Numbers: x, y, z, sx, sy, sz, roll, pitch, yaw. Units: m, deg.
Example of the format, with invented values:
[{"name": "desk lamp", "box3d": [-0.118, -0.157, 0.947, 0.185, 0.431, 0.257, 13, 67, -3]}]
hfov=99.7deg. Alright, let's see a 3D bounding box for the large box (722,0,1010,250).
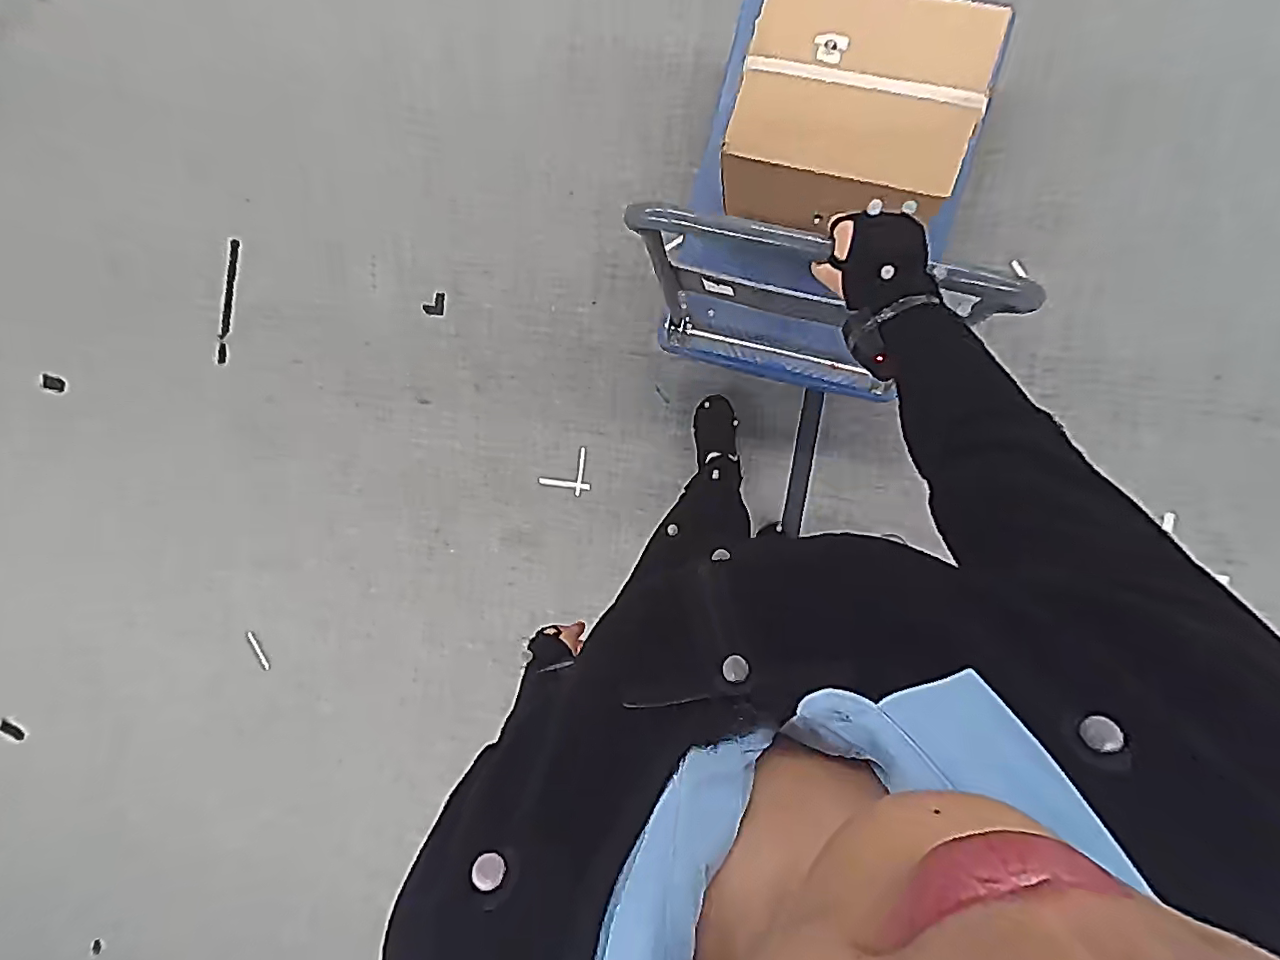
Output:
[{"name": "large box", "box3d": [0.405, -0.692, 1.066, 0.408, 0.320, 0.320, 17, 95, 10]}]
